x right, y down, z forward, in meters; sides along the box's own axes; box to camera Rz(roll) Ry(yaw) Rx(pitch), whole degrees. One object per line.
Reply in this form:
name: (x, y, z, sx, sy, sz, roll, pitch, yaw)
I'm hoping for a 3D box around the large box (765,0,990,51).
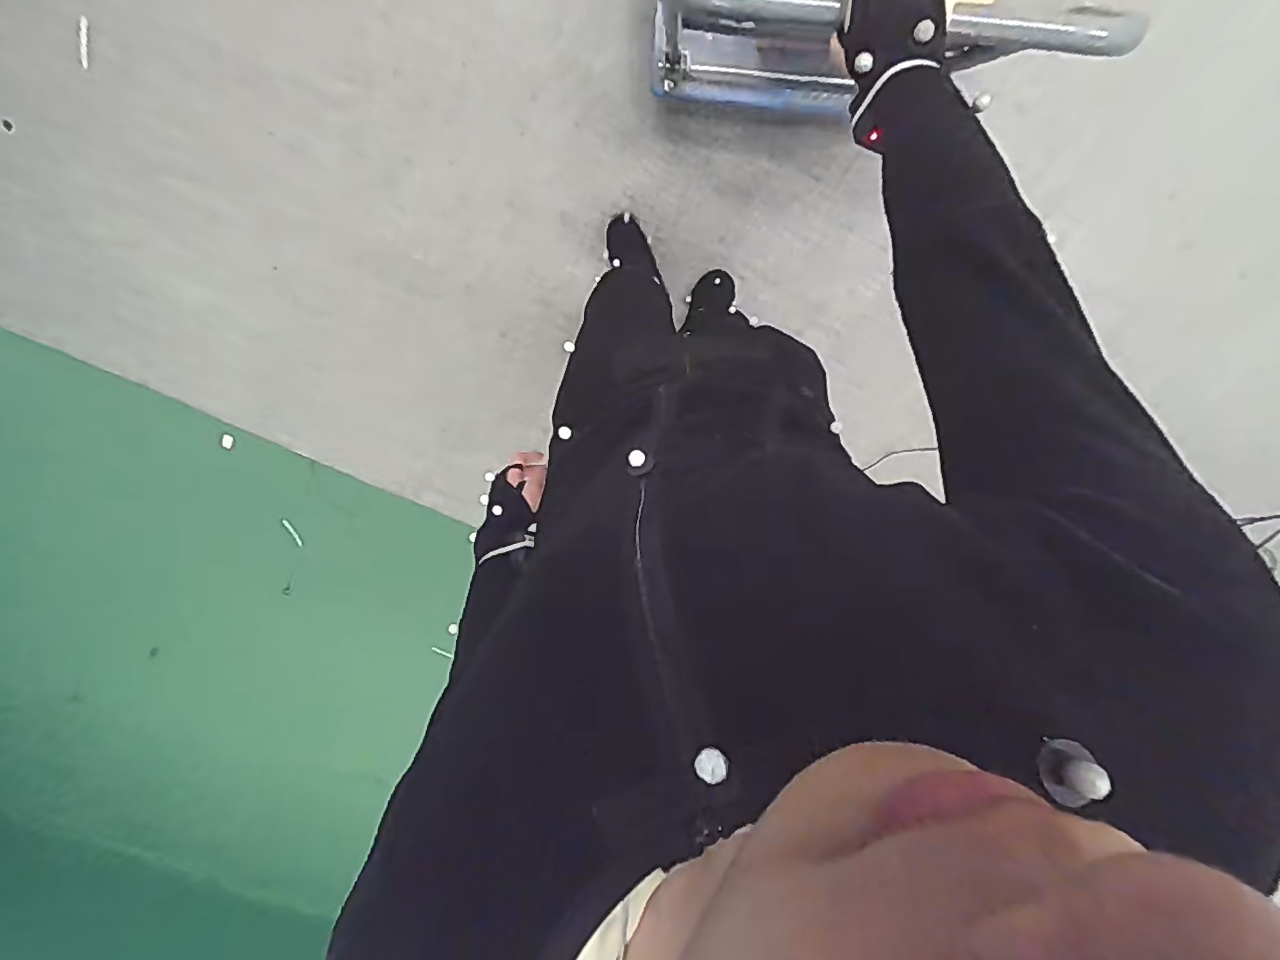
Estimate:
large box: (0.393, -0.958, 0.844, 0.320, 0.320, 0.408, 5, 117, 1)
